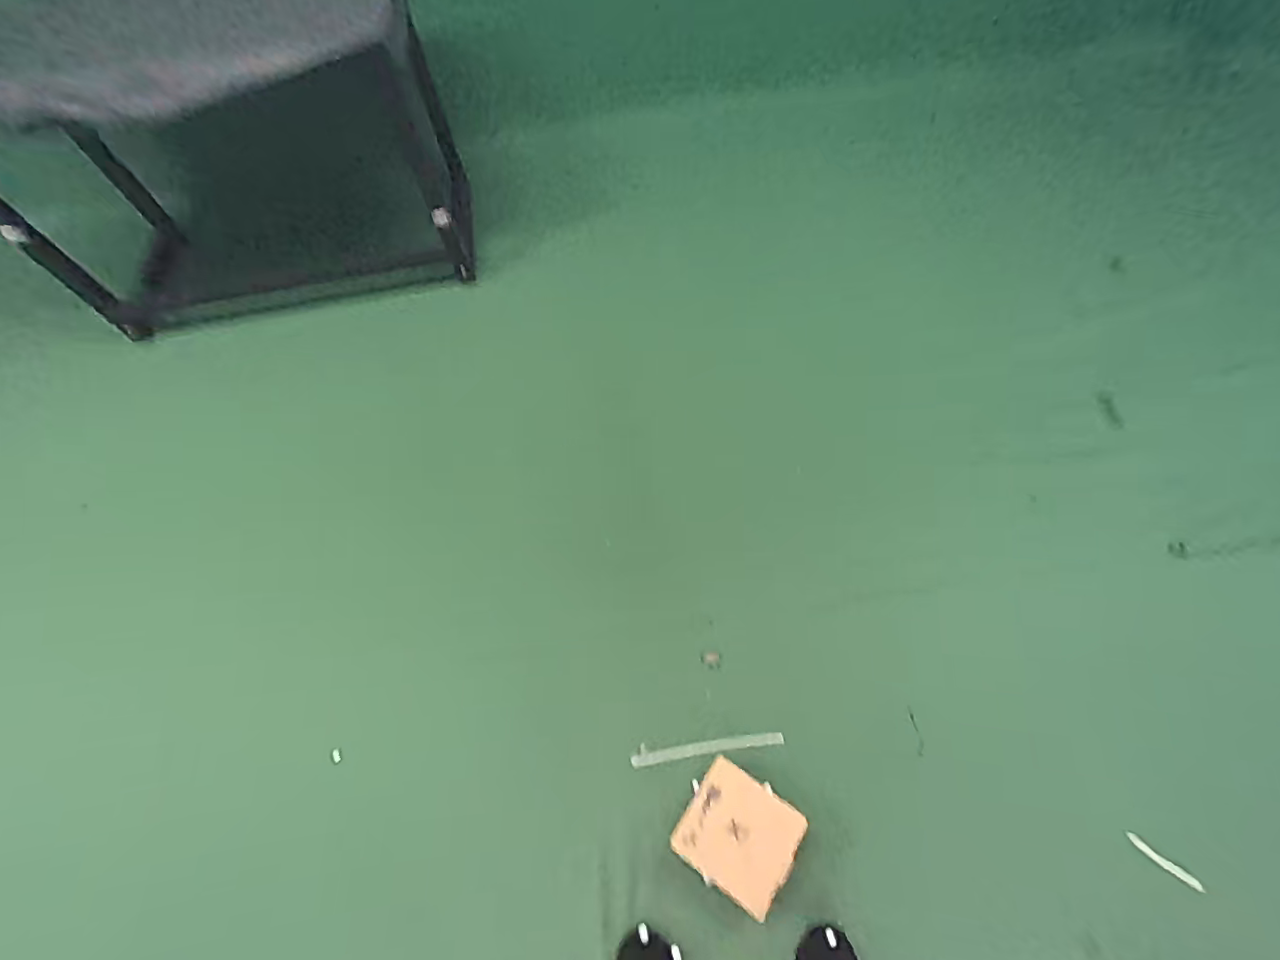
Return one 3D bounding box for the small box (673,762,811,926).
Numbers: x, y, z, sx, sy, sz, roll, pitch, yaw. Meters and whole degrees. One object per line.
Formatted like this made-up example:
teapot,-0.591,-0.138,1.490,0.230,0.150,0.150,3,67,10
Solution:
small box,0.175,0.635,0.966,0.179,0.176,0.168,30,66,20
